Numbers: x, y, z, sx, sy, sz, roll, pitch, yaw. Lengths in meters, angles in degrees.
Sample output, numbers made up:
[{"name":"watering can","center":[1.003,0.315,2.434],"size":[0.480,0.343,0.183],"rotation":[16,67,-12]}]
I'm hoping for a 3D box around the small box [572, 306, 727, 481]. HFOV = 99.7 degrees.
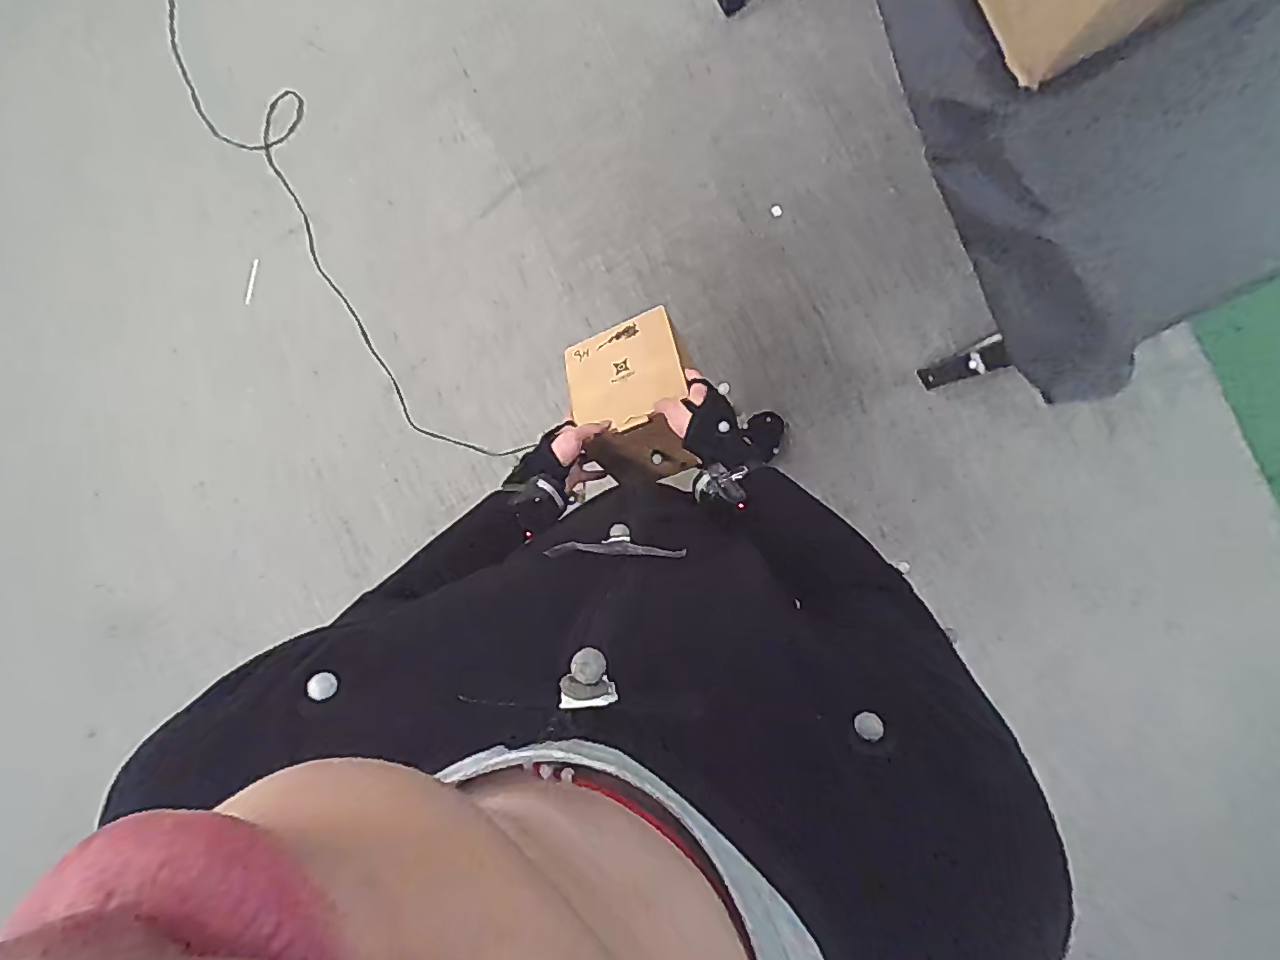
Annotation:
[{"name":"small box","center":[0.017,-0.116,0.810],"size":[0.168,0.176,0.179],"rotation":[-21,59,14]}]
